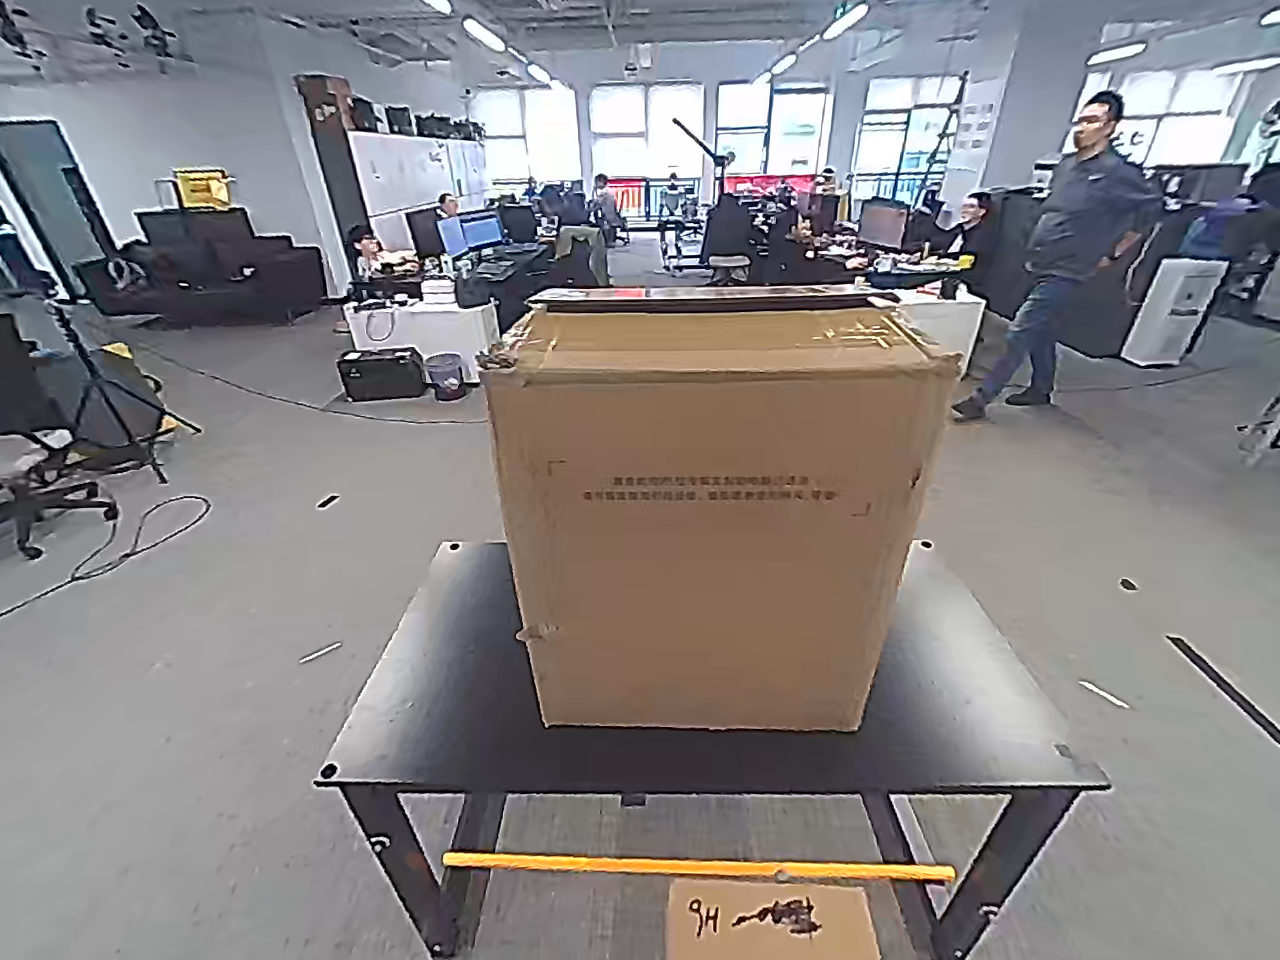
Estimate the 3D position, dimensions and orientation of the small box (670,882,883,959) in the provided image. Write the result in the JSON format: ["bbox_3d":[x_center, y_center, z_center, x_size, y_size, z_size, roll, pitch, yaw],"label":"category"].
[{"bbox_3d":[0.107,0.459,0.444,0.168,0.176,0.179,1,42,2],"label":"small box"}]
